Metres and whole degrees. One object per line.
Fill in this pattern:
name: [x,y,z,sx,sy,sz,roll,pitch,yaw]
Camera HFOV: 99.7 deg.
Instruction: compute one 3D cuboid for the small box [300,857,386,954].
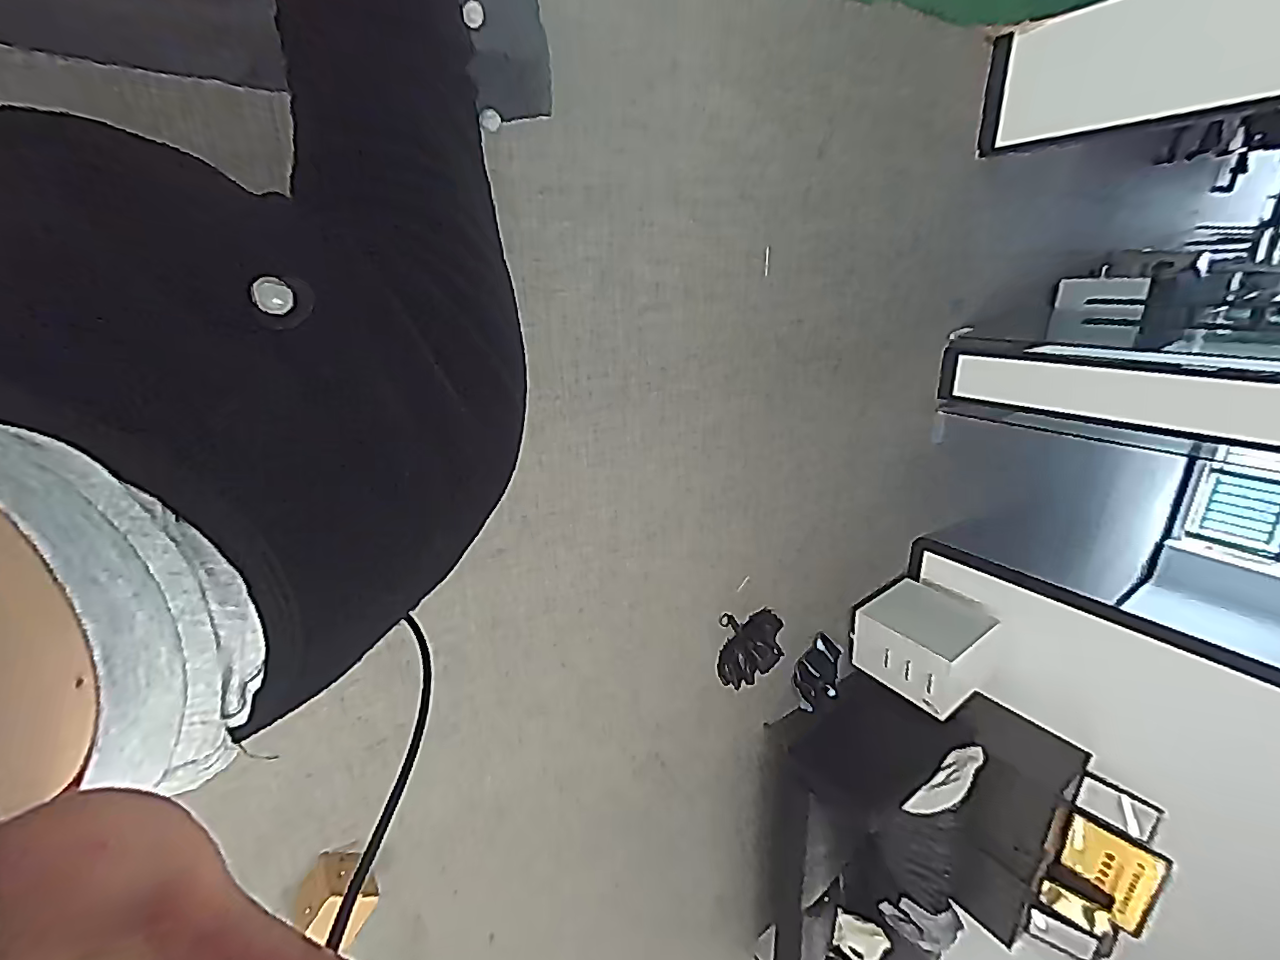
small box: [-0.933,1.316,1.688,0.168,0.176,0.179,36,84,-38]
